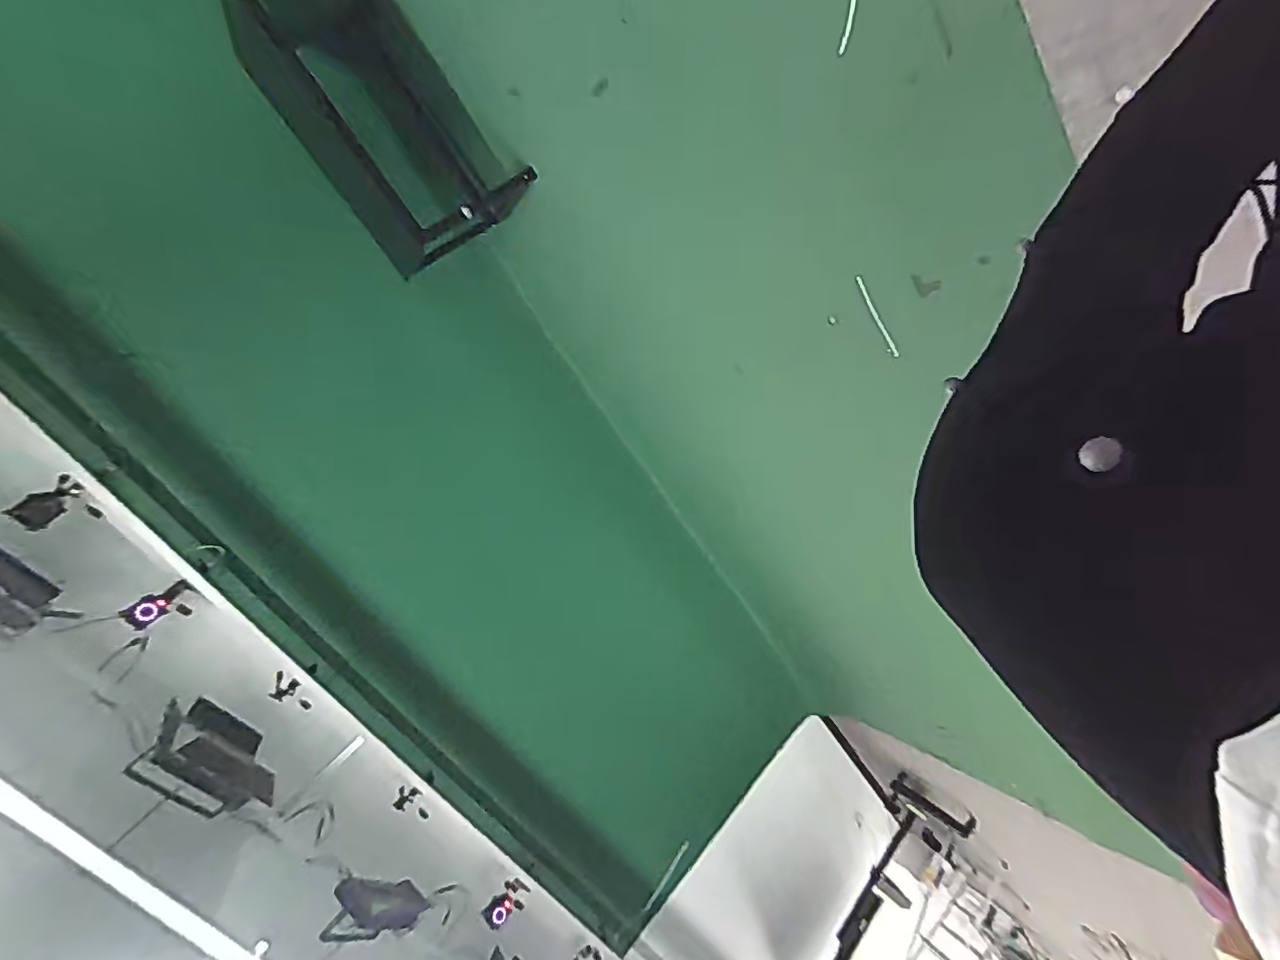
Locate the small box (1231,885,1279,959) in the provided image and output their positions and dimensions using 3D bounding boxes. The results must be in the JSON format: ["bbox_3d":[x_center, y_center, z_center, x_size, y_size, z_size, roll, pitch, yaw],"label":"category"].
[{"bbox_3d":[1.495,1.078,1.221,0.179,0.176,0.168,54,159,-16],"label":"small box"}]
